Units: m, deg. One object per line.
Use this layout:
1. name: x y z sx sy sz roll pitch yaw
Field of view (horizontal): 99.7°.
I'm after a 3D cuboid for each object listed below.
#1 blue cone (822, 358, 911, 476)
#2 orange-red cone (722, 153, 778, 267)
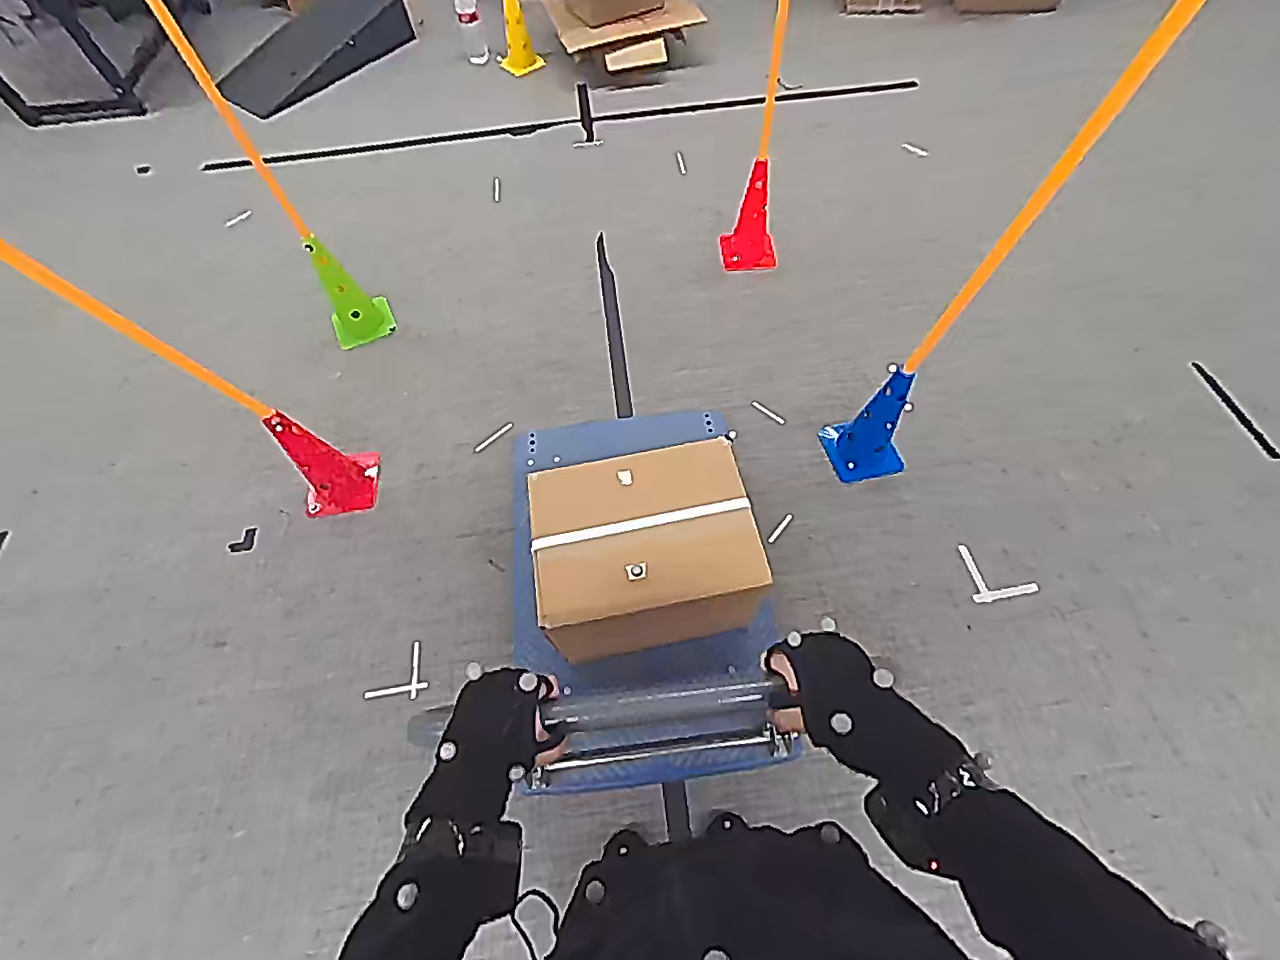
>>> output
1. blue cone: 0.651 -0.183 1.468 0.193 0.380 0.192 -11 60 -4
2. orange-red cone: 0.408 -0.953 1.888 0.199 0.360 0.198 -1 62 0
